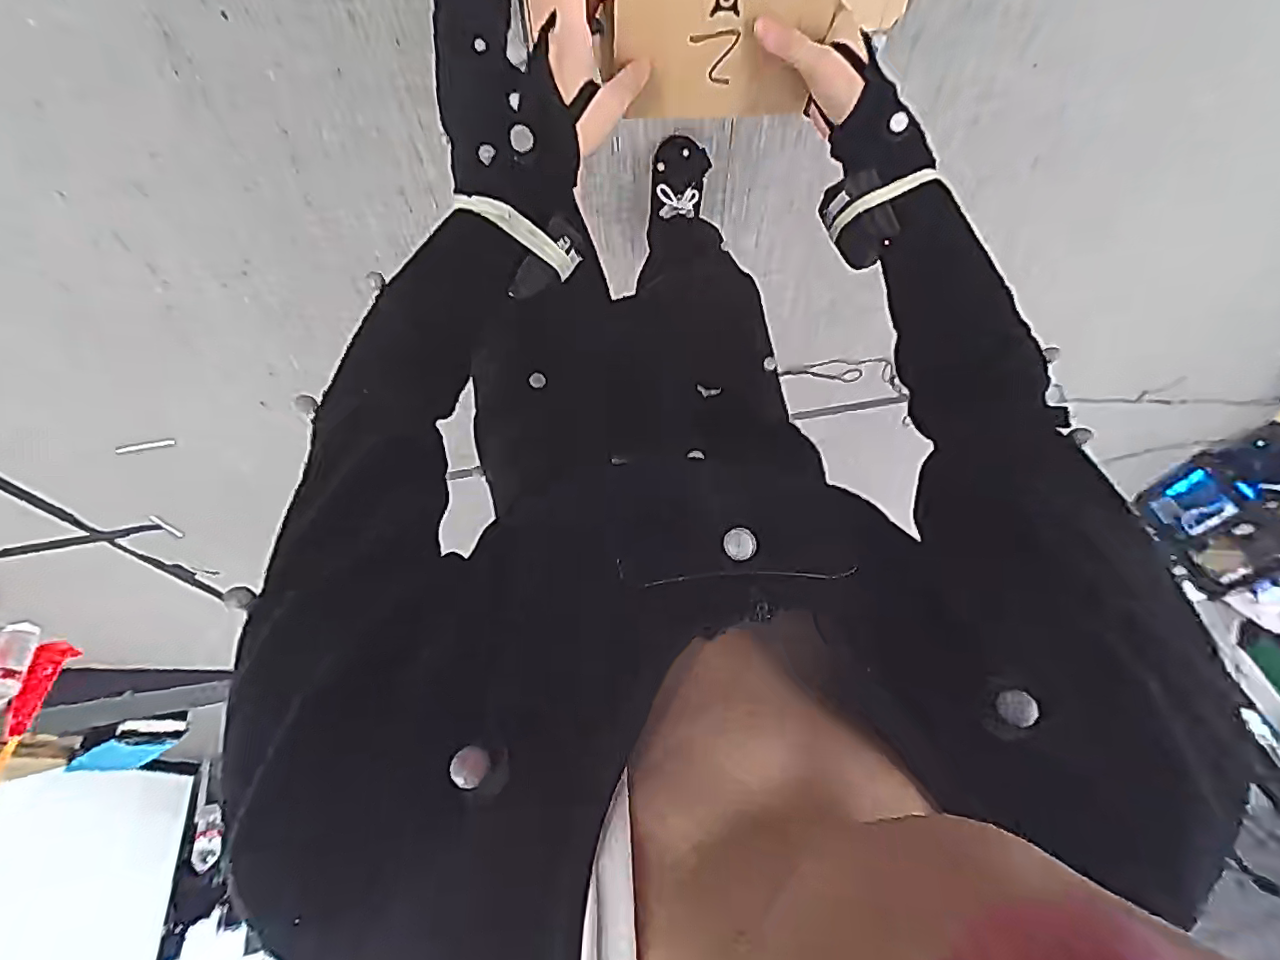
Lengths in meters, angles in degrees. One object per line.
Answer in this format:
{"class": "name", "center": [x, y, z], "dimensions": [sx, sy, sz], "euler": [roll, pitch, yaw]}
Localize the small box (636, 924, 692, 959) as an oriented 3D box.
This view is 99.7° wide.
{"class": "small box", "center": [0.084, 1.606, 1.786], "dimensions": [0.168, 0.176, 0.179], "euler": [-9, 149, -9]}
